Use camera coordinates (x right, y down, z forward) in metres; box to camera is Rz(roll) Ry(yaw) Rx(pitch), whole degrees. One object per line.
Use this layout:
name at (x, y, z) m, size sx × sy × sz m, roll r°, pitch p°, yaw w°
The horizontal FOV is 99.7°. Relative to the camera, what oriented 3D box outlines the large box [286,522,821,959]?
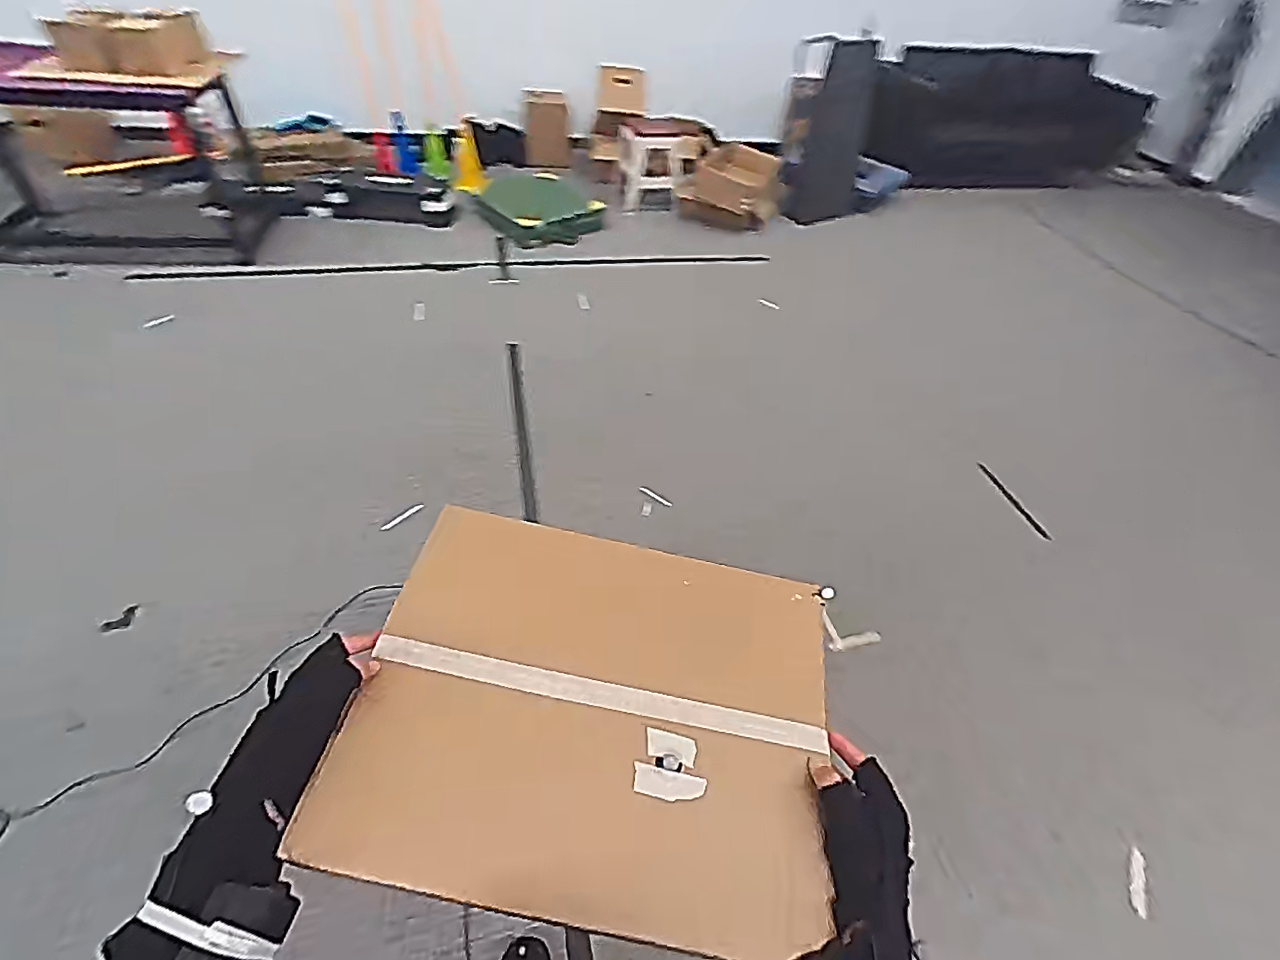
large box at (-0.063, 0.288, 0.597) m, size 0.408 × 0.320 × 0.320 m, roll 12°, pitch 52°, yaw -1°
